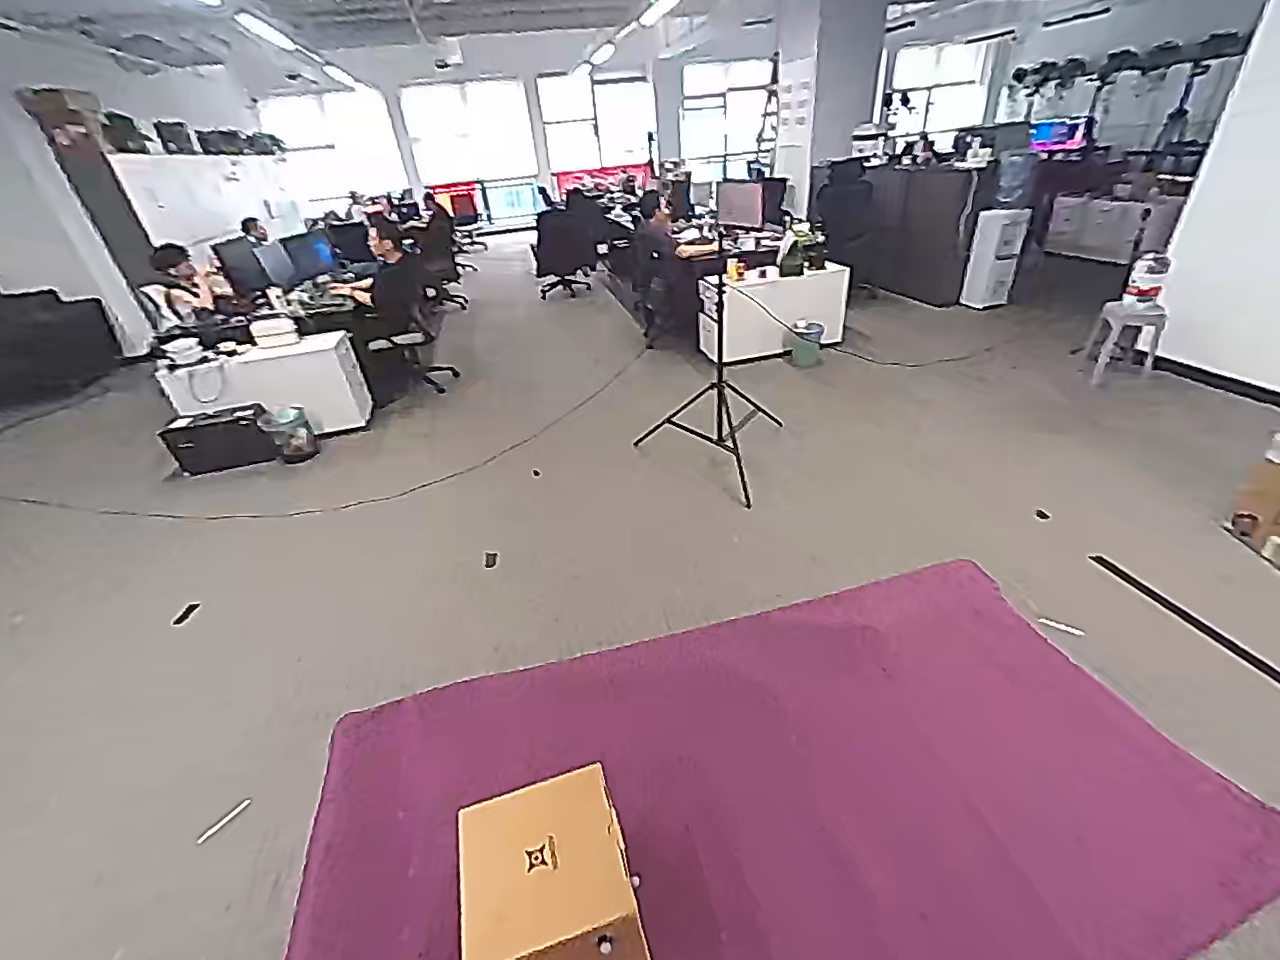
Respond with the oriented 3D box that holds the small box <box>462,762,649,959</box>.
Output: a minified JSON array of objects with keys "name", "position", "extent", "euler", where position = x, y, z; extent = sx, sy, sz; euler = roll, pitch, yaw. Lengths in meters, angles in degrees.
[{"name":"small box","position":[-0.099,0.481,0.637],"extent":[0.179,0.176,0.168],"euler":[-13,32,-13]}]
